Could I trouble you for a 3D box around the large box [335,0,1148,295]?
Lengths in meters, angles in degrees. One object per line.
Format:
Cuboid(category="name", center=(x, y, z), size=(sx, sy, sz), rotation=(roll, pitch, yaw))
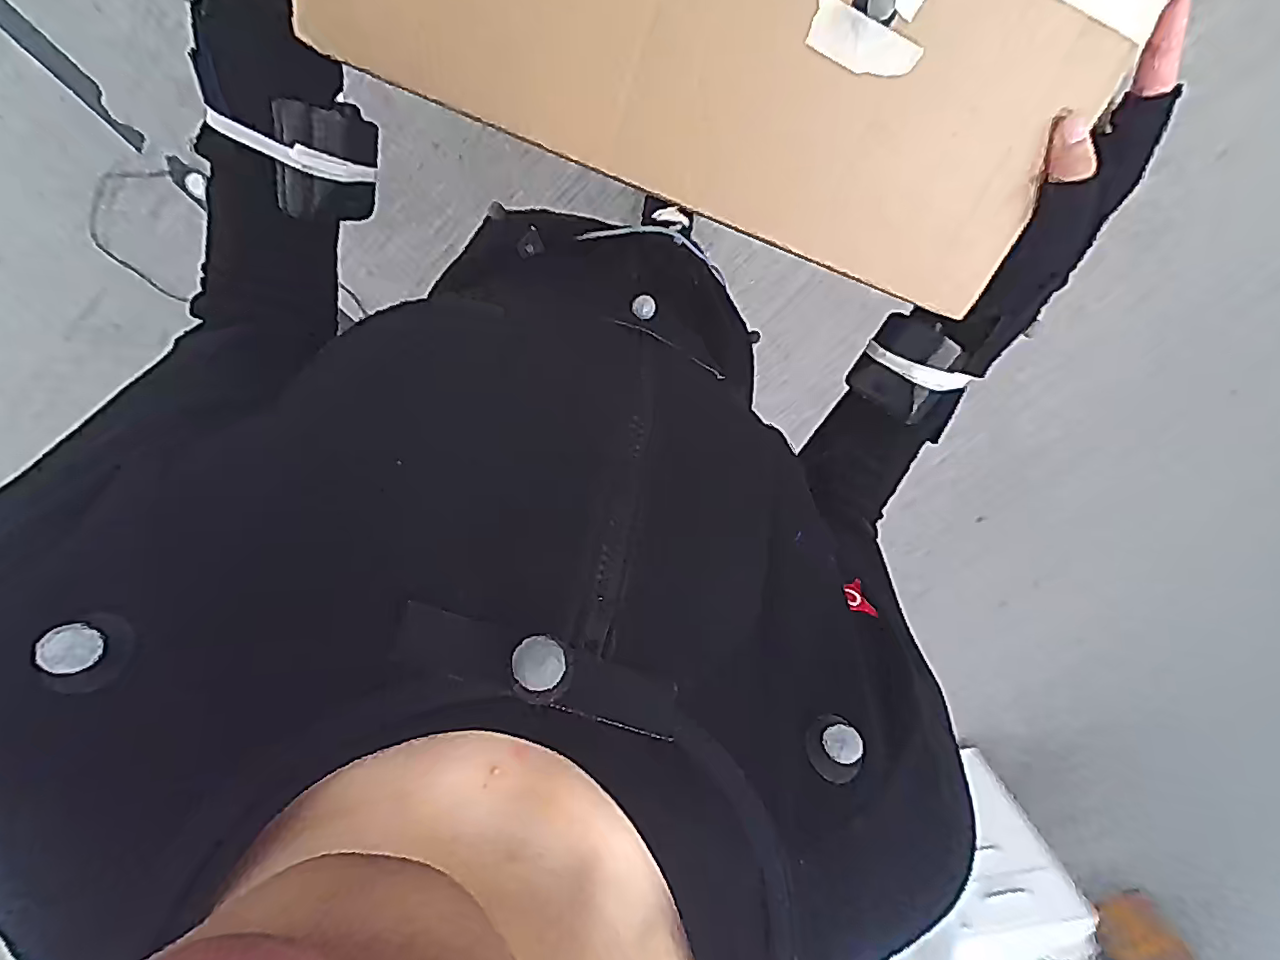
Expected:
Cuboid(category="large box", center=(0.070, -0.373, 0.379), size=(0.408, 0.320, 0.320), rotation=(17, 119, -11))
